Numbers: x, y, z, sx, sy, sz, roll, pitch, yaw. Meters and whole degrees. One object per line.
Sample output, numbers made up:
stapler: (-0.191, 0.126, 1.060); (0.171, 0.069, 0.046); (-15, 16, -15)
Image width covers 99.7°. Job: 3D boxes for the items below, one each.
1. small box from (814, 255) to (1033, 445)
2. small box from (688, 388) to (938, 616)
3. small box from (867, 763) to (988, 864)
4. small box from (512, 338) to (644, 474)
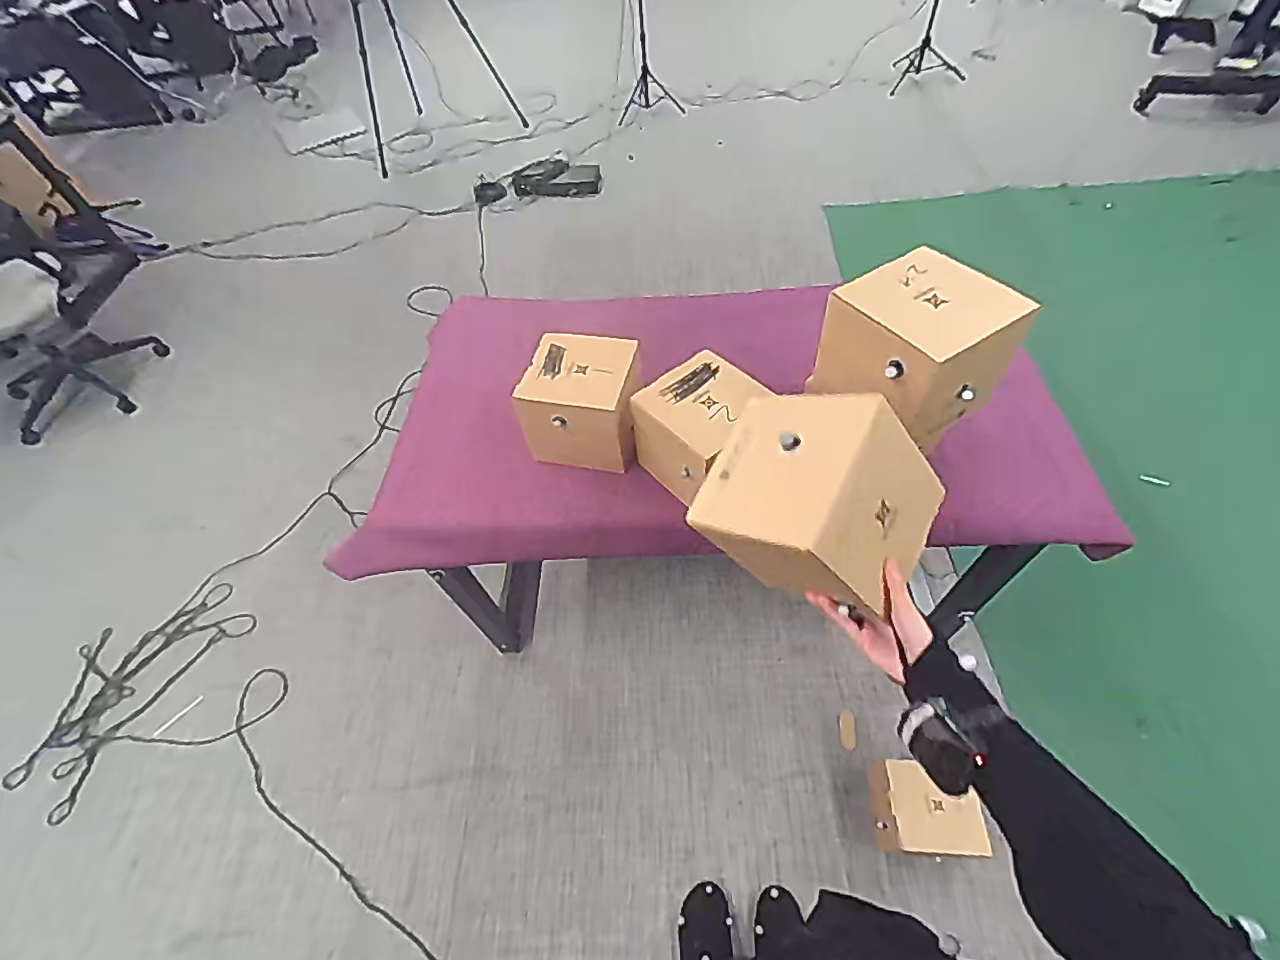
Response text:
small box: (0.362, -0.165, 0.729); (0.168, 0.176, 0.179); (-28, 54, -14)
small box: (0.183, 0.020, 0.586); (0.176, 0.179, 0.168); (11, 67, 53)
small box: (0.603, 0.720, 1.165); (0.179, 0.176, 0.168); (0, 54, 6)
small box: (-0.099, -0.128, 0.960); (0.179, 0.176, 0.168); (9, 55, 12)
